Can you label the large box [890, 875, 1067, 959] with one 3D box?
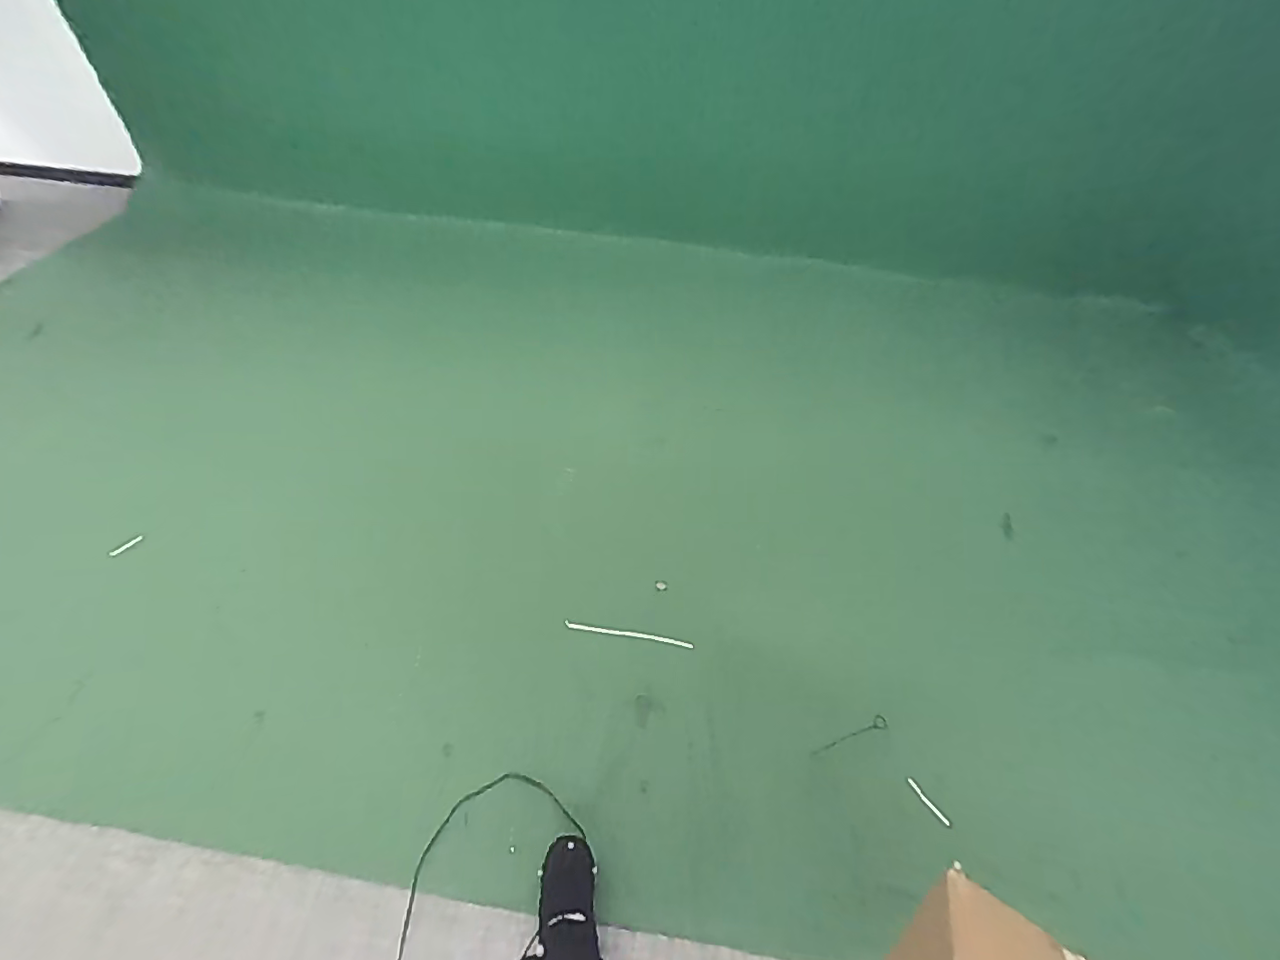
[{"bbox_3d":[0.414,0.769,0.575,0.320,0.320,0.408,30,10,25],"label":"large box"}]
